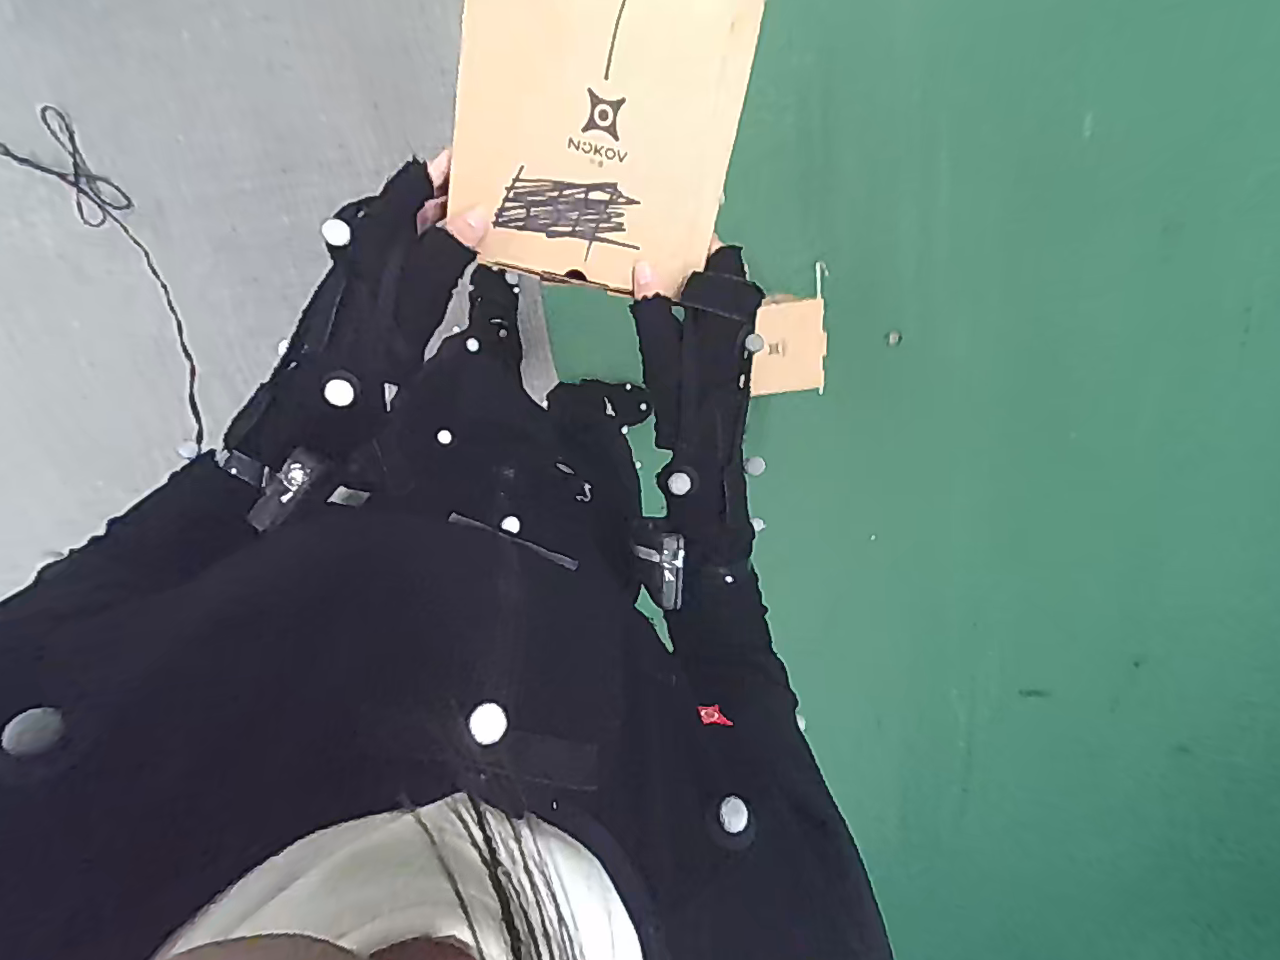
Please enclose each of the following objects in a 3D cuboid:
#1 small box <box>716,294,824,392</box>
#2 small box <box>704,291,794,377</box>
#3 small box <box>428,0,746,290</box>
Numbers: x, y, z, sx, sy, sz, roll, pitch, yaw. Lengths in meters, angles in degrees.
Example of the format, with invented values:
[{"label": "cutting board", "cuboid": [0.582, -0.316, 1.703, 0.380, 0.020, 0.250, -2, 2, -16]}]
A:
[{"label": "small box", "cuboid": [0.257, -0.283, 1.098, 0.179, 0.176, 0.168, -6, 109, 0]}, {"label": "small box", "cuboid": [0.249, -0.342, 1.251, 0.179, 0.176, 0.168, -6, 109, 3]}, {"label": "small box", "cuboid": [-0.044, -0.247, 0.392, 0.168, 0.176, 0.179, 8, 109, -11]}]
